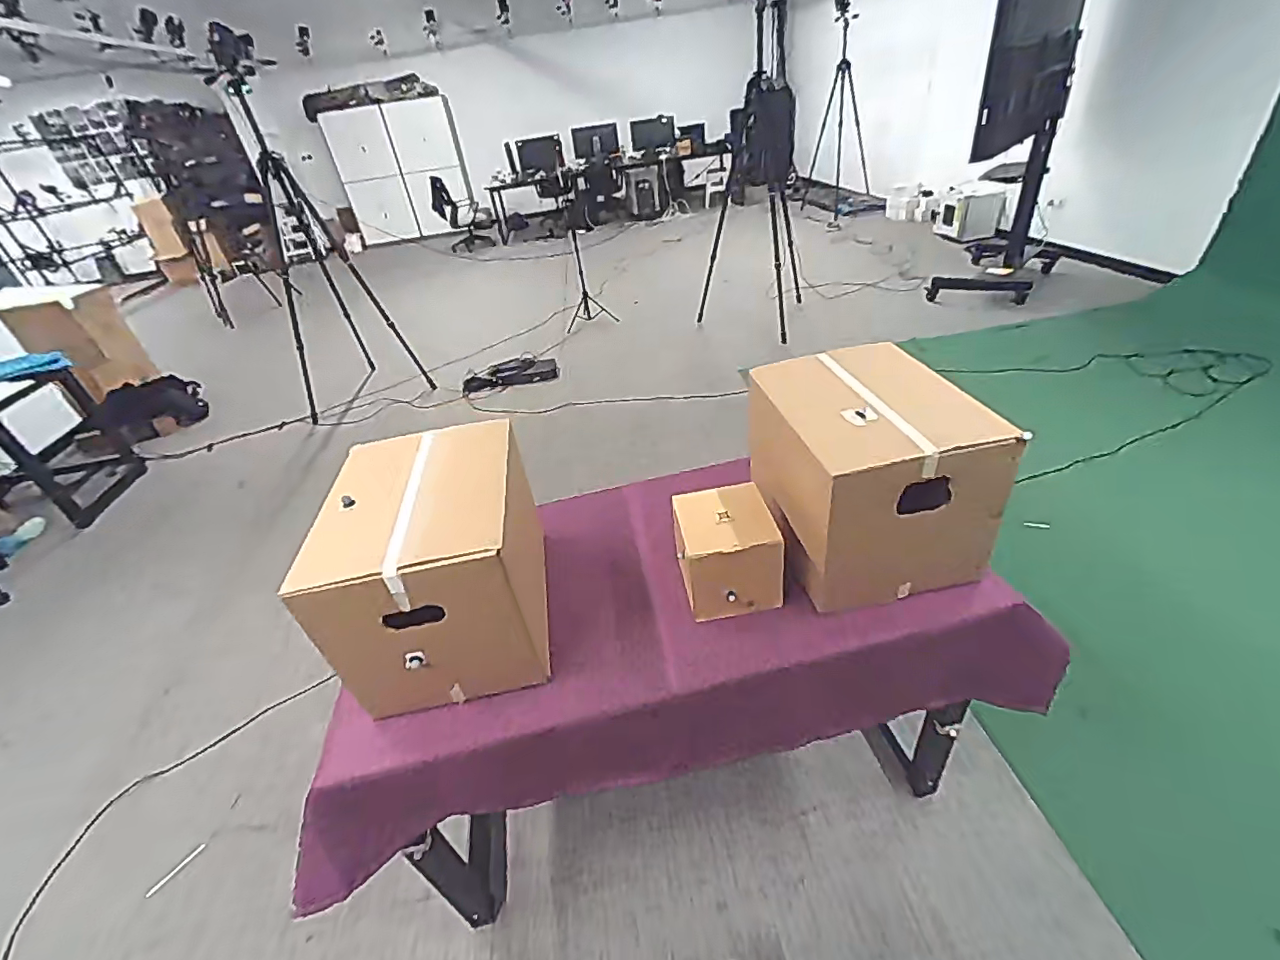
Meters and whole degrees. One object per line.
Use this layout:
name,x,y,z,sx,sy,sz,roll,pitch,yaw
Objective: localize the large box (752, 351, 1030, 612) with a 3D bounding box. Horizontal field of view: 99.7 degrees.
large box,0.432,-0.015,1.060,0.320,0.320,0.408,-11,36,-3
